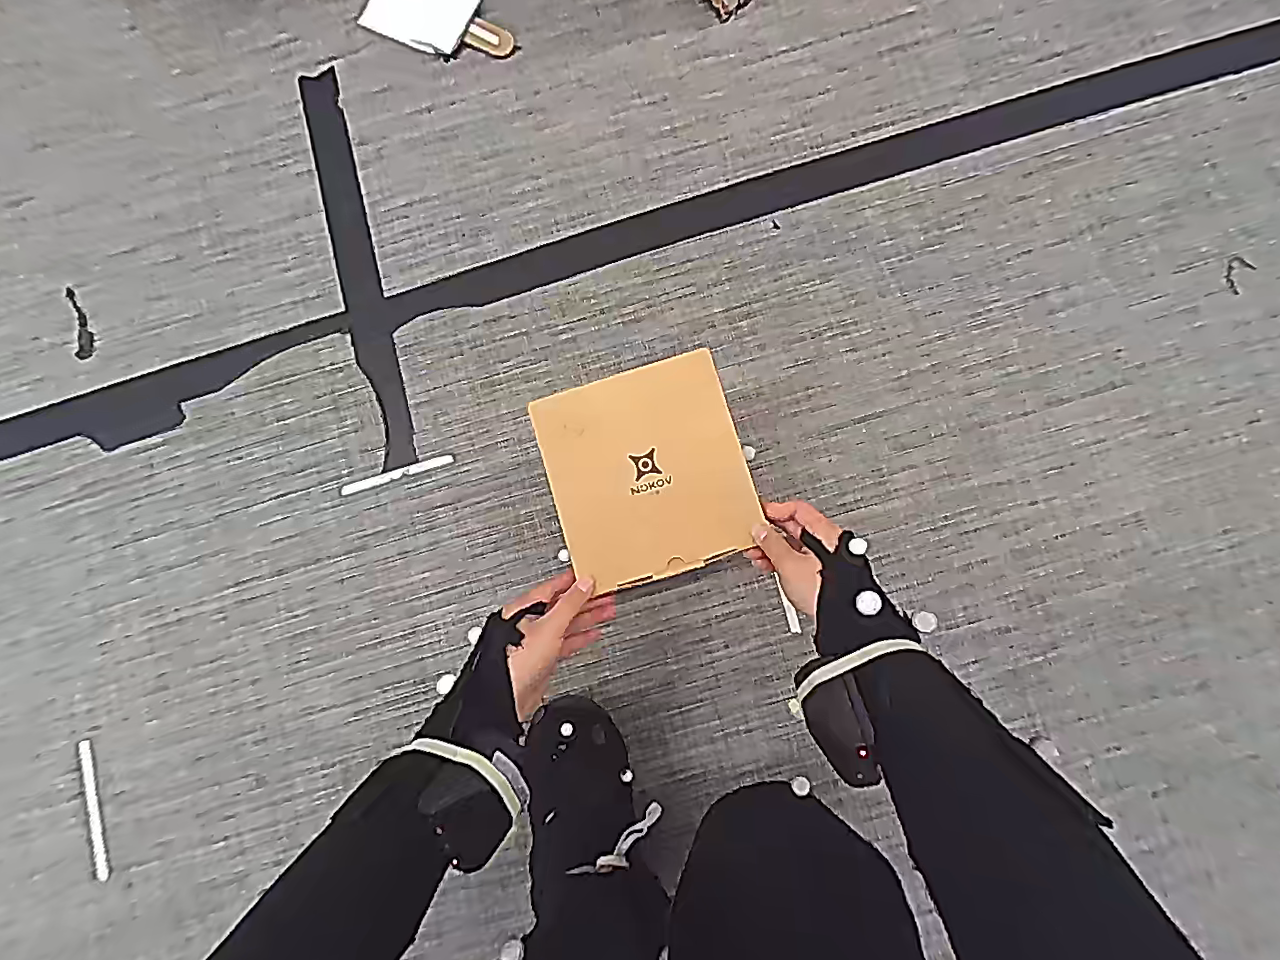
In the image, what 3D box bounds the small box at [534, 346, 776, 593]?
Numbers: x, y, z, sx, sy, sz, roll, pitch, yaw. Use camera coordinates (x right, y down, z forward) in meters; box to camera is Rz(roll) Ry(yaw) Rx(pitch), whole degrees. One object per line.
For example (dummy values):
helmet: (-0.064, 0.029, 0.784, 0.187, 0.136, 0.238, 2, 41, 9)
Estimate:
small box: (0.011, -0.002, 0.528, 0.168, 0.176, 0.179, -17, 84, -1)
